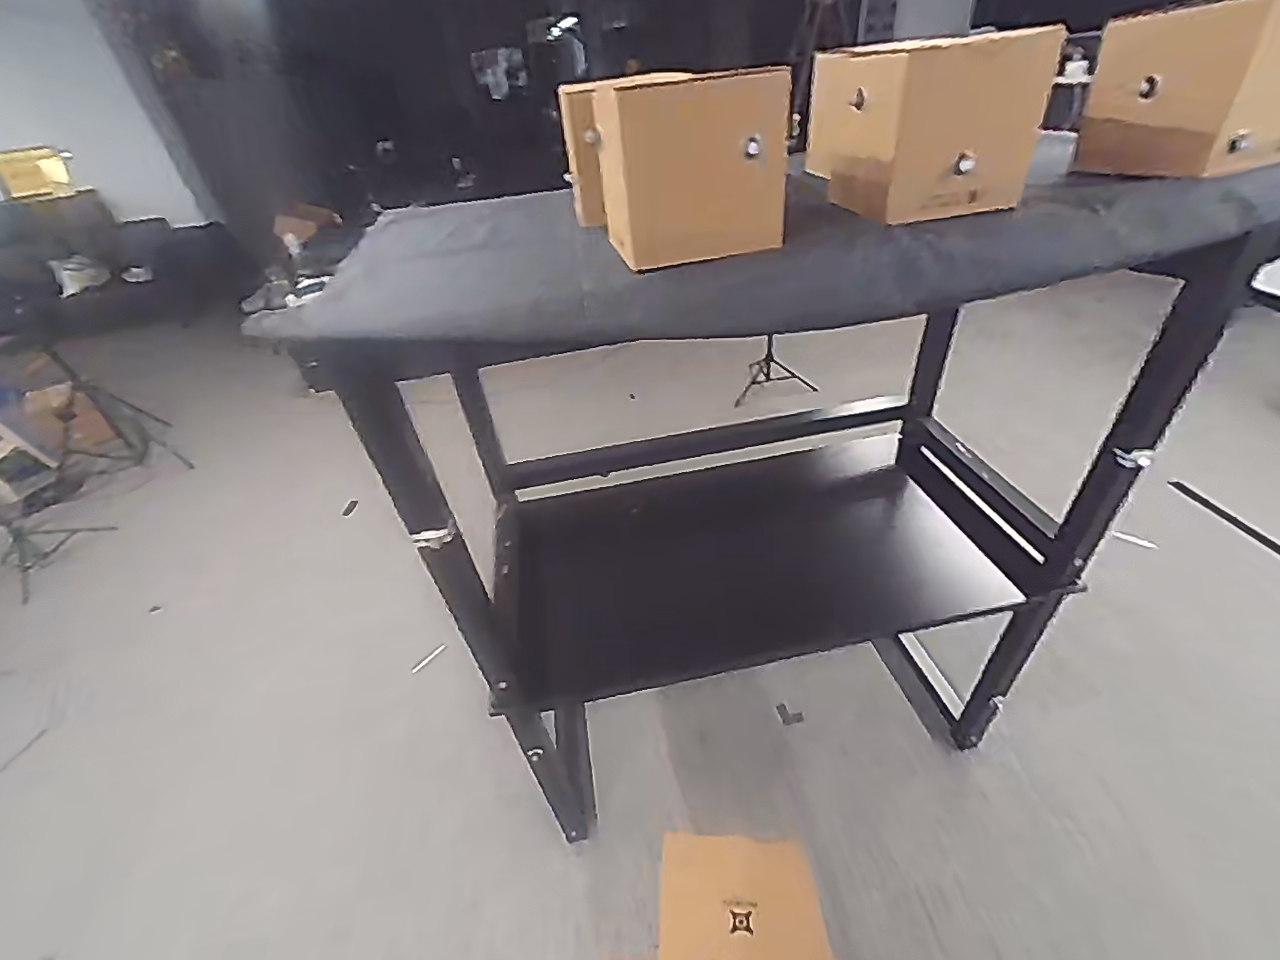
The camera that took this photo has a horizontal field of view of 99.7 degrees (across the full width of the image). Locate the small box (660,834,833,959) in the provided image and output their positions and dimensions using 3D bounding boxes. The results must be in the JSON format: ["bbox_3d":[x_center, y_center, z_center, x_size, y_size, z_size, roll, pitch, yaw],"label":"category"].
[{"bbox_3d":[0.105,0.520,0.567,0.168,0.176,0.179,1,15,6],"label":"small box"}]

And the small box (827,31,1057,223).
[{"bbox_3d":[0.343,-0.426,0.661,0.168,0.176,0.179,-9,37,-1],"label":"small box"}]

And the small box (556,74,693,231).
[{"bbox_3d":[-0.022,-0.490,0.809,0.179,0.176,0.168,-11,39,-3],"label":"small box"}]

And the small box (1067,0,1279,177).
[{"bbox_3d":[0.682,-0.476,0.658,0.168,0.176,0.179,-14,33,-8],"label":"small box"}]

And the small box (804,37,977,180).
[{"bbox_3d":[0.371,-0.567,0.836,0.168,0.176,0.179,-11,39,-7],"label":"small box"}]
